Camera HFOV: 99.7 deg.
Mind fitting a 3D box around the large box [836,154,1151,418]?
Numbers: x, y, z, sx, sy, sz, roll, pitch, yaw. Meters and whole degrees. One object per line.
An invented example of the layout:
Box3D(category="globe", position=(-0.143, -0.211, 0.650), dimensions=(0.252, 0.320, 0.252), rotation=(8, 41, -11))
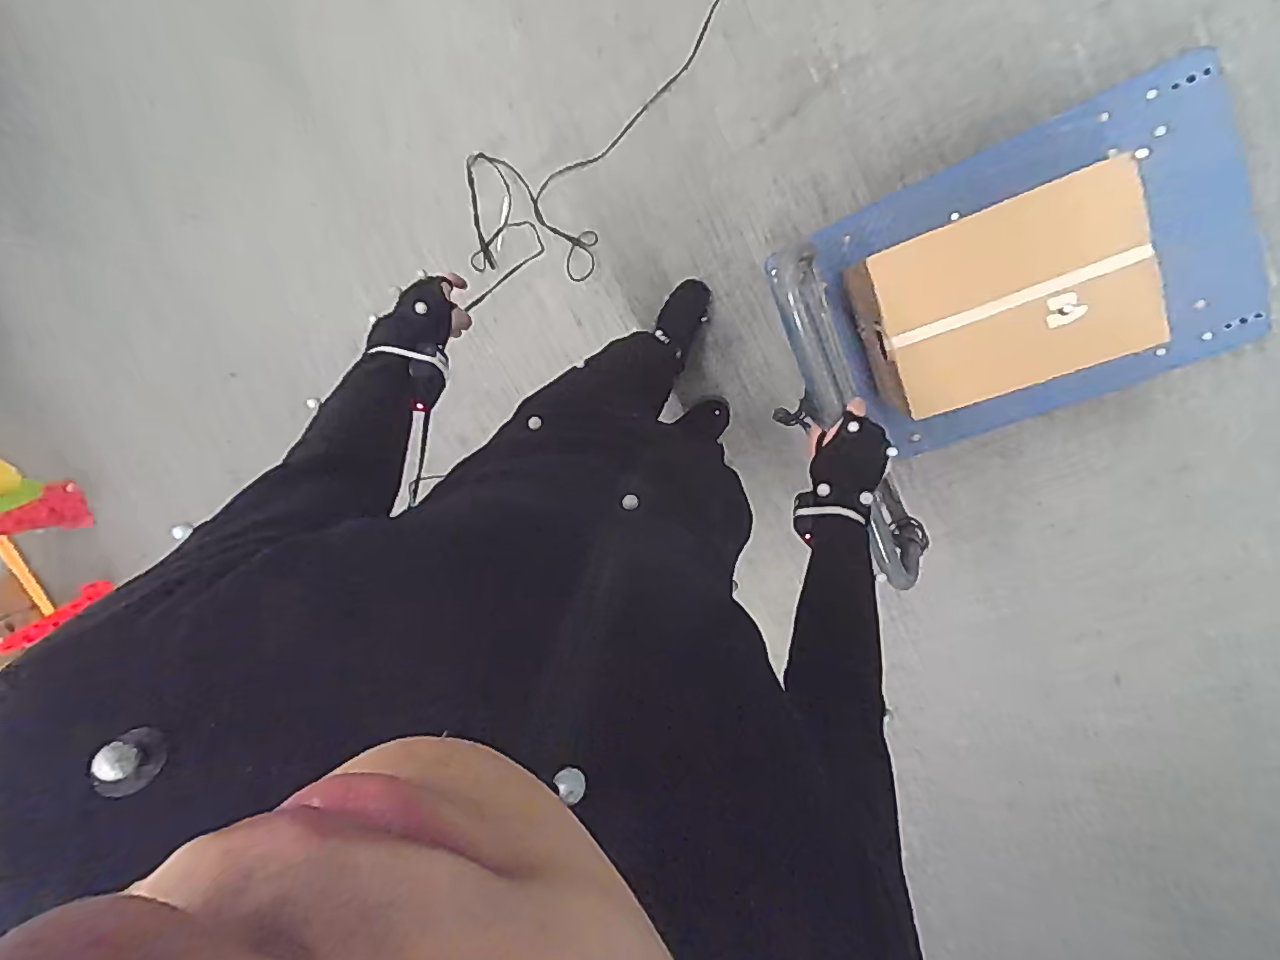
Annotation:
Box3D(category="large box", position=(0.652, -0.354, 1.072), dimensions=(0.408, 0.320, 0.320), rotation=(-18, 103, 17))
